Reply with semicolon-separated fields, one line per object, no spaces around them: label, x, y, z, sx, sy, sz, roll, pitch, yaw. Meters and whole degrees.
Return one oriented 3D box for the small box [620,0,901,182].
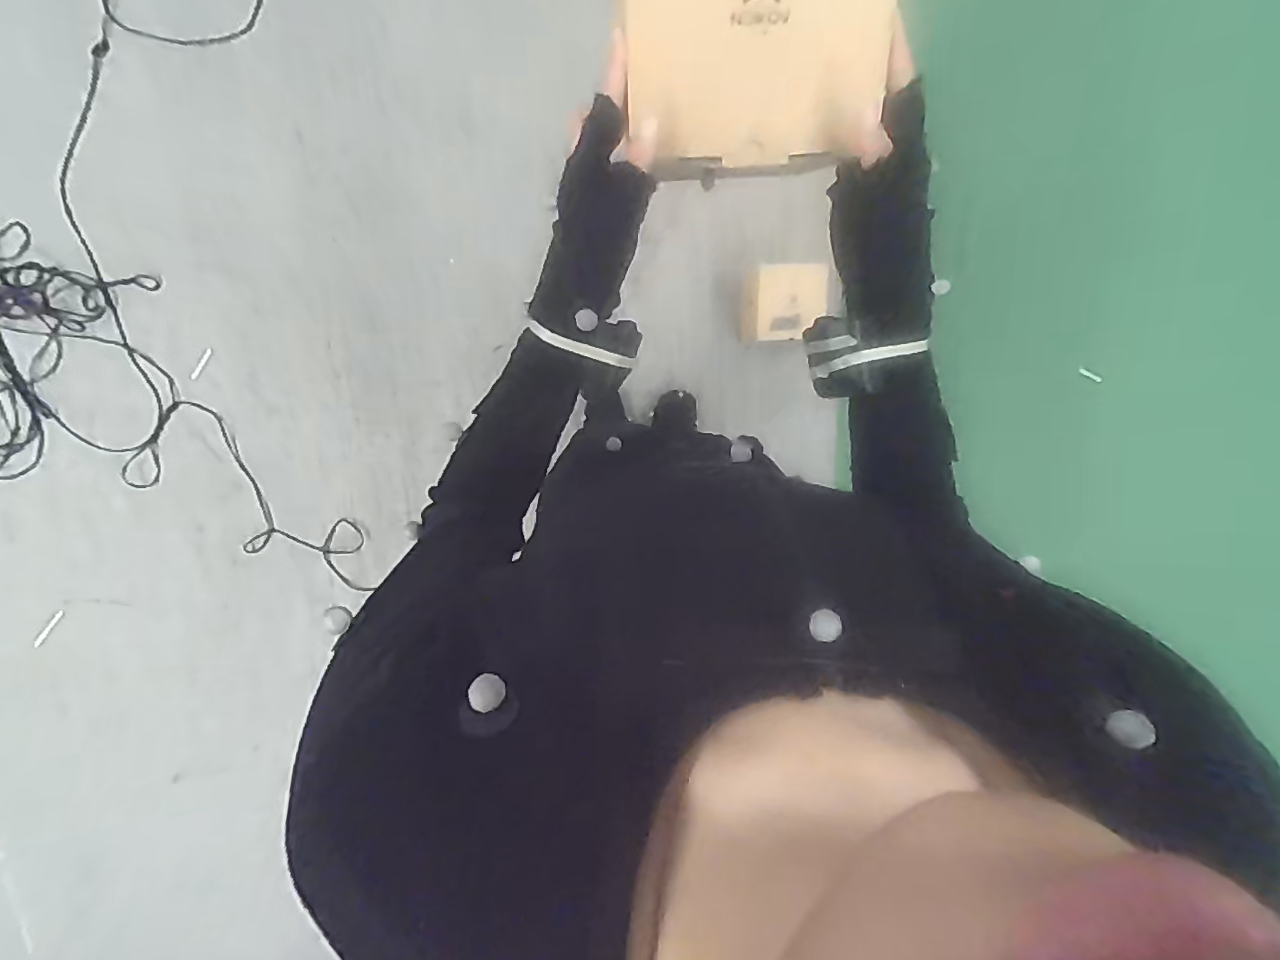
small box;0.070;-0.323;0.390;0.168;0.176;0.179;-3;116;0

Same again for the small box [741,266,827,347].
small box;0.349;-0.422;1.338;0.168;0.176;0.179;-1;99;-2
